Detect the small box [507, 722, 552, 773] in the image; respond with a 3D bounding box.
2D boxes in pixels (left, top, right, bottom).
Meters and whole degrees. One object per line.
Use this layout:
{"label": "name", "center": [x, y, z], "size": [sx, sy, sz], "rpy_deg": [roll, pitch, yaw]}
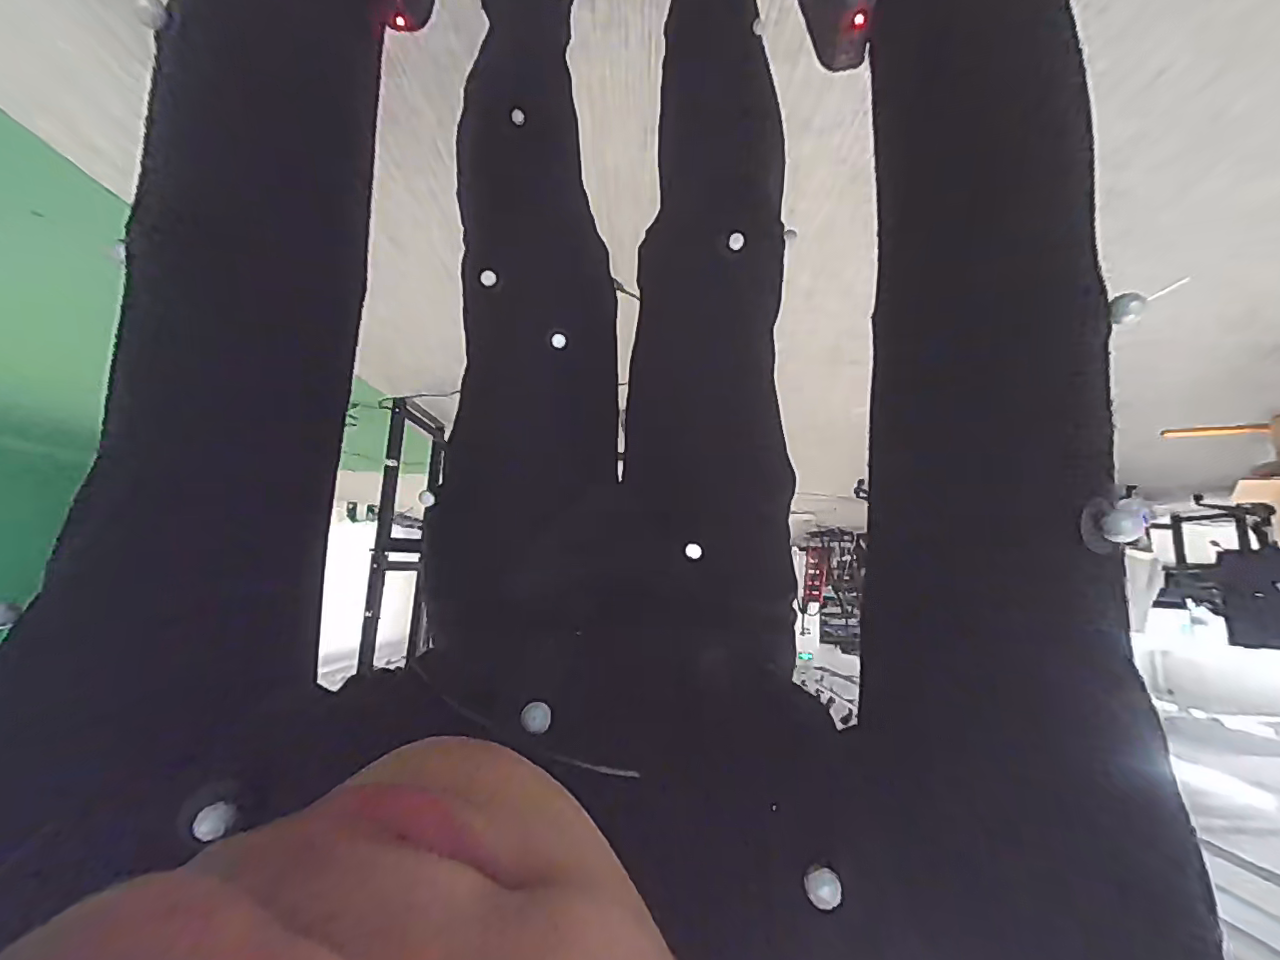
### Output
{"label": "small box", "center": [-0.490, 1.188, 2.412], "size": [0.168, 0.176, 0.179], "rpy_deg": [3, 170, -1]}
